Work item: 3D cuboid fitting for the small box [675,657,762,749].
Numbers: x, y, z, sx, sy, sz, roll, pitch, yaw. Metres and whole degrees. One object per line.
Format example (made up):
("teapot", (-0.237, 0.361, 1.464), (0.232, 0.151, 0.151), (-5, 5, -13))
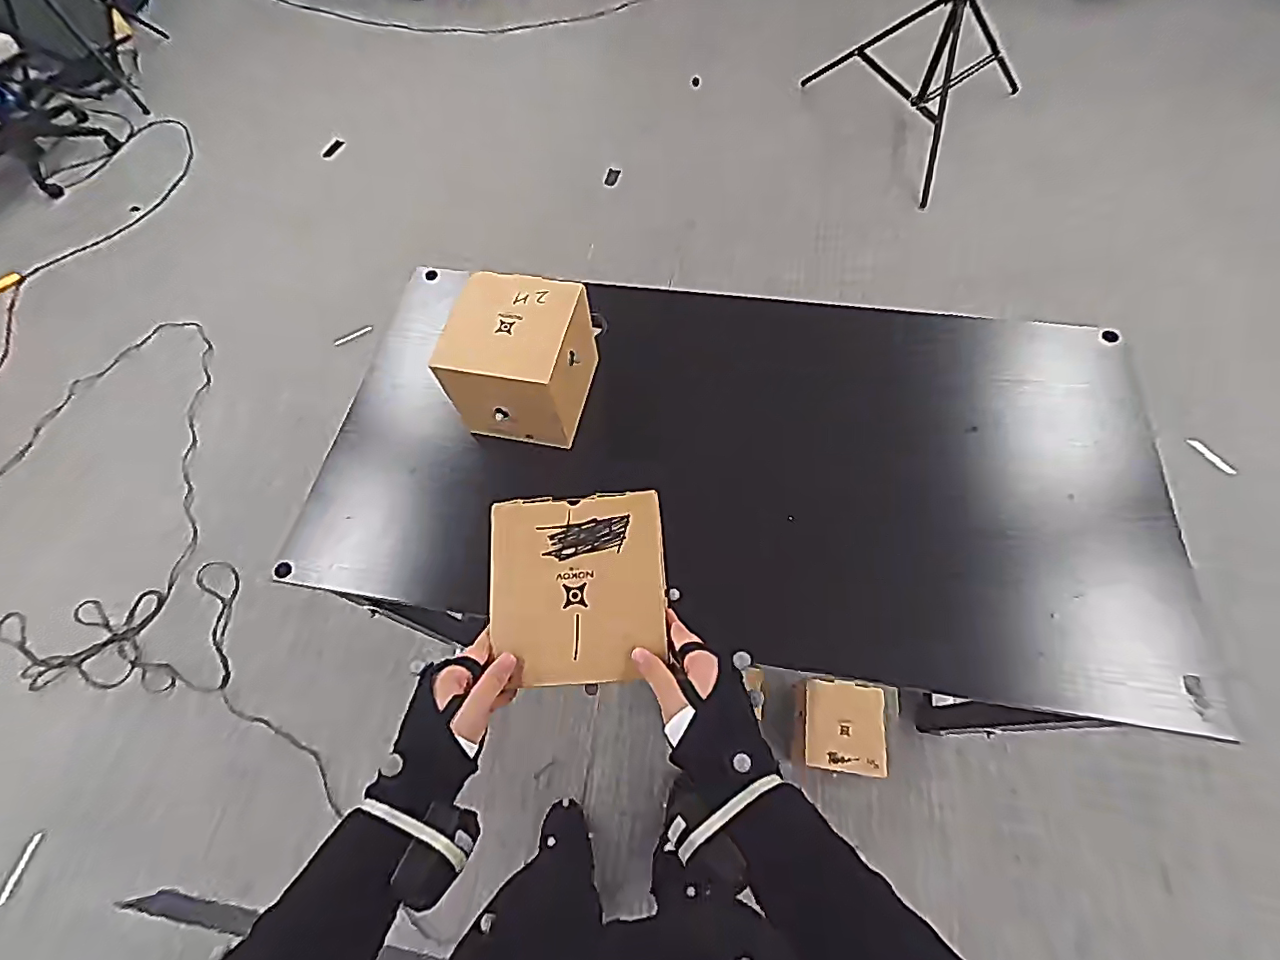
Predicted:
("small box", (0.178, 0.517, 1.250), (0.179, 0.176, 0.168), (6, 63, 8))

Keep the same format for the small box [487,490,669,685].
("small box", (-0.057, 0.122, 0.586), (0.168, 0.176, 0.179), (-5, 73, 3))

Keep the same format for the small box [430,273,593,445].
("small box", (-0.173, -0.171, 0.797), (0.168, 0.176, 0.179), (10, 64, 8))

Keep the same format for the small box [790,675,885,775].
("small box", (0.436, 0.551, 1.214), (0.168, 0.176, 0.179), (6, 64, 7))
